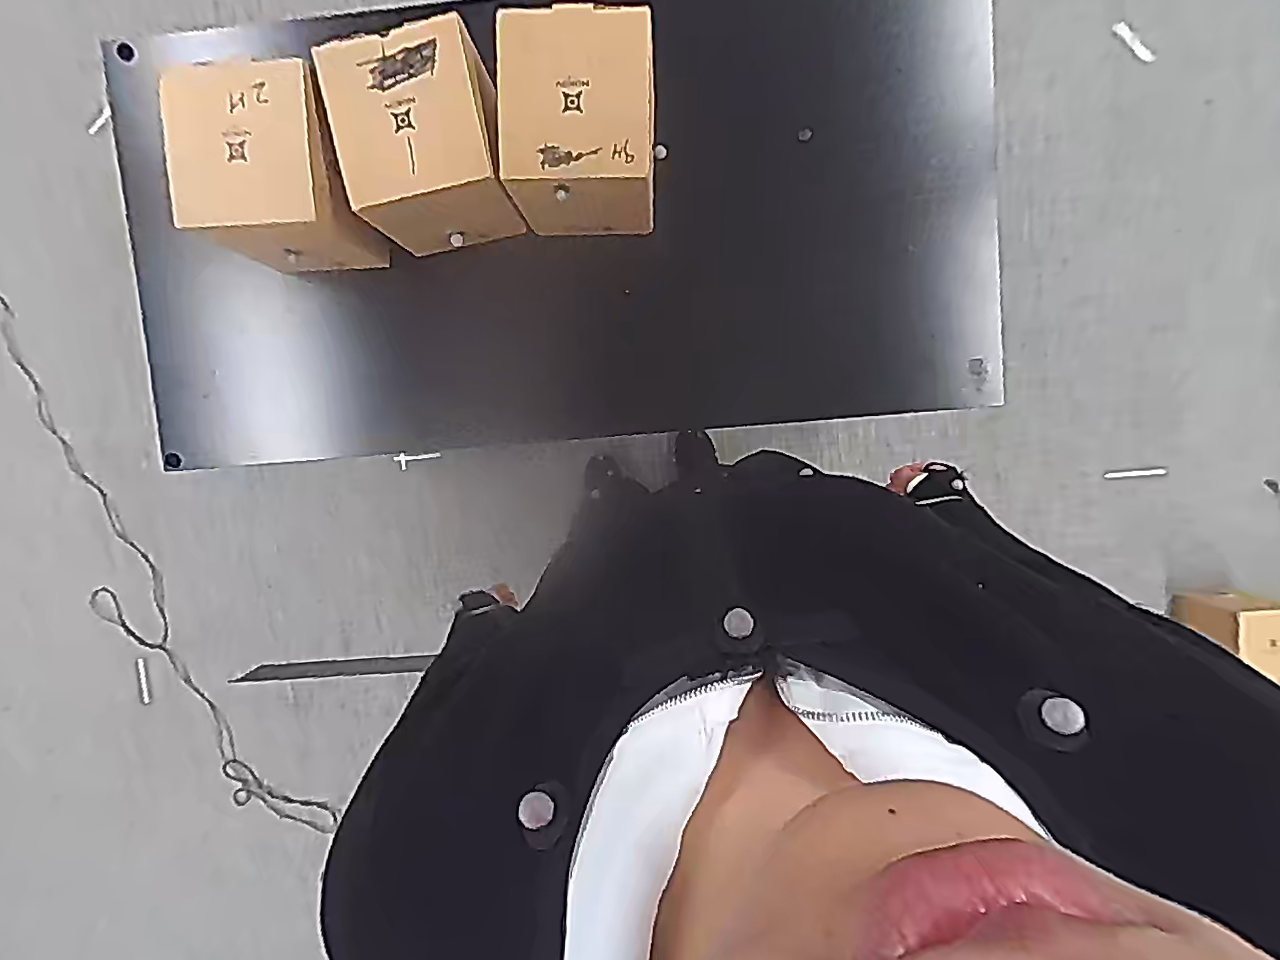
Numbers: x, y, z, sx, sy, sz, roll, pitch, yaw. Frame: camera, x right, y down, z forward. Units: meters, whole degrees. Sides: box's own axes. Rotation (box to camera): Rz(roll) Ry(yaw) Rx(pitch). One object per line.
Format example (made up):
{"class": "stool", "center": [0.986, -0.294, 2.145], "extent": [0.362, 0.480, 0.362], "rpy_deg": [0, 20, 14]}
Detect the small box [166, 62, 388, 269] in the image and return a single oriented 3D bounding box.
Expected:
{"class": "small box", "center": [-0.438, -0.376, 0.682], "extent": [0.168, 0.176, 0.179], "rpy_deg": [-2, 94, 2]}

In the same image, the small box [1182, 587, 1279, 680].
{"class": "small box", "center": [1.534, 0.384, 1.369], "extent": [0.168, 0.176, 0.179], "rpy_deg": [-5, 94, 3]}
